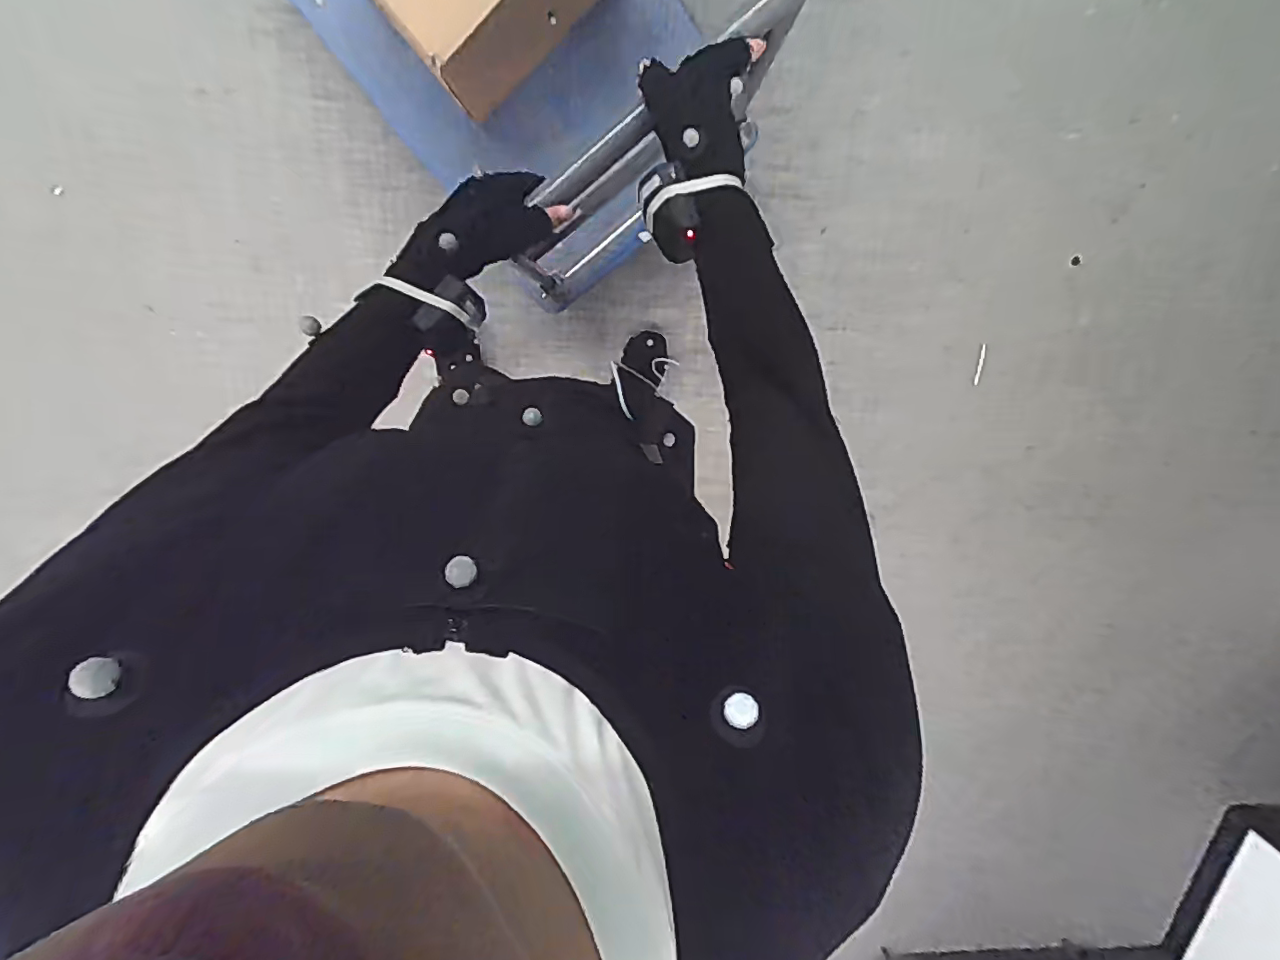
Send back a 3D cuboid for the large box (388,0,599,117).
[{"bbox_3d":[-0.237,-0.889,0.849,0.408,0.320,0.320,-40,108,11],"label":"large box"}]
